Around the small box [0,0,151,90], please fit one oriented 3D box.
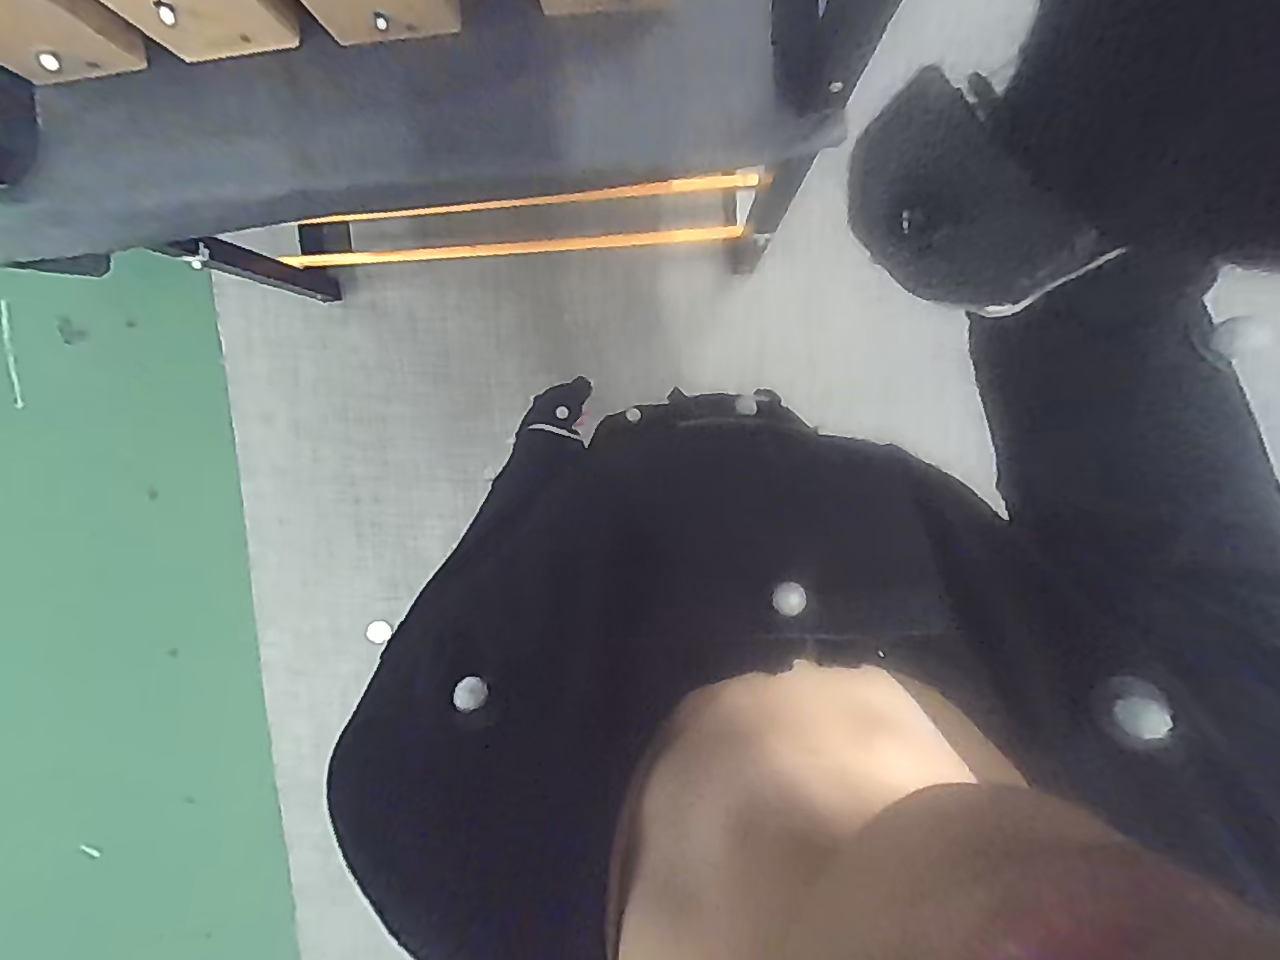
[{"bbox_3d":[-0.755,-0.621,0.653,0.168,0.176,0.179,-5,97,5],"label":"small box"}]
